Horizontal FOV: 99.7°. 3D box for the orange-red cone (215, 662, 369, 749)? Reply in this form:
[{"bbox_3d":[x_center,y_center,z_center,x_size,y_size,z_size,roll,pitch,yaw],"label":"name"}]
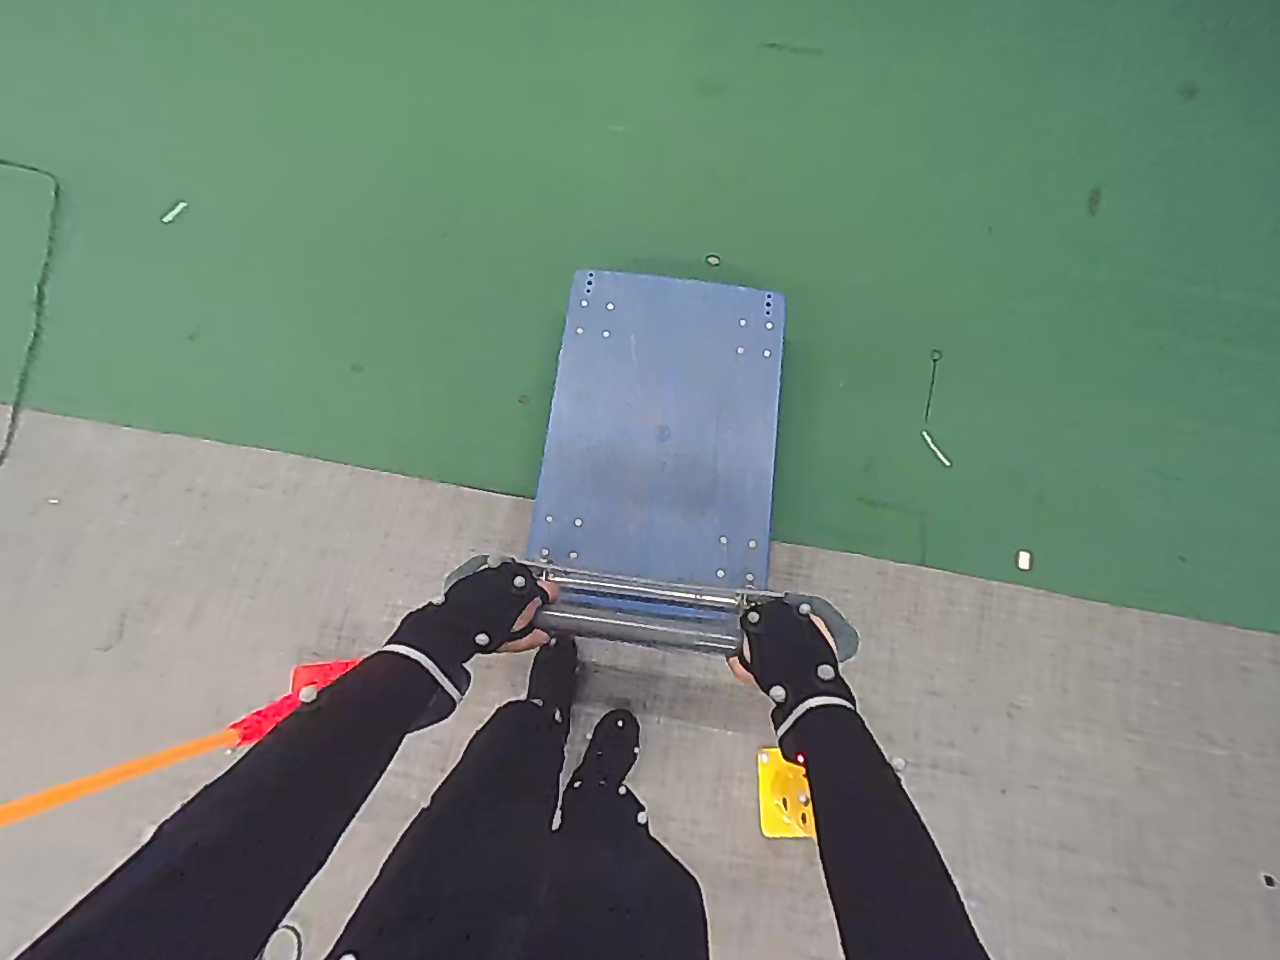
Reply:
[{"bbox_3d":[-0.777,0.519,1.178,0.199,0.360,0.198,-4,77,-1],"label":"orange-red cone"}]
